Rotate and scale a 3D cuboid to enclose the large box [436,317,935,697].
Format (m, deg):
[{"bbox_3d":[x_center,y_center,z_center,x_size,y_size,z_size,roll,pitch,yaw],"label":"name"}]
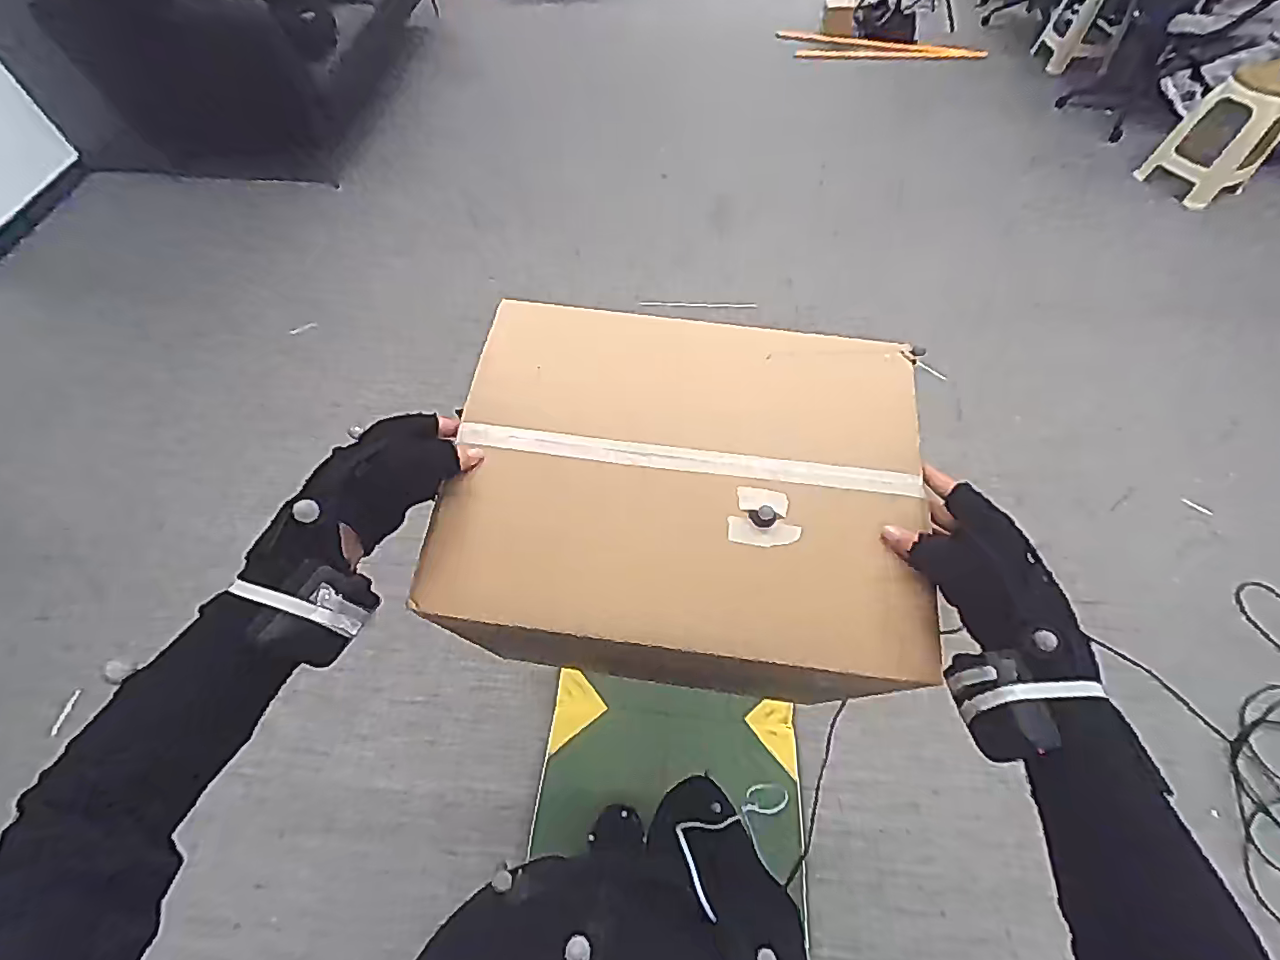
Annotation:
[{"bbox_3d":[0.045,0.053,0.619,0.408,0.320,0.320,7,65,2],"label":"large box"}]
